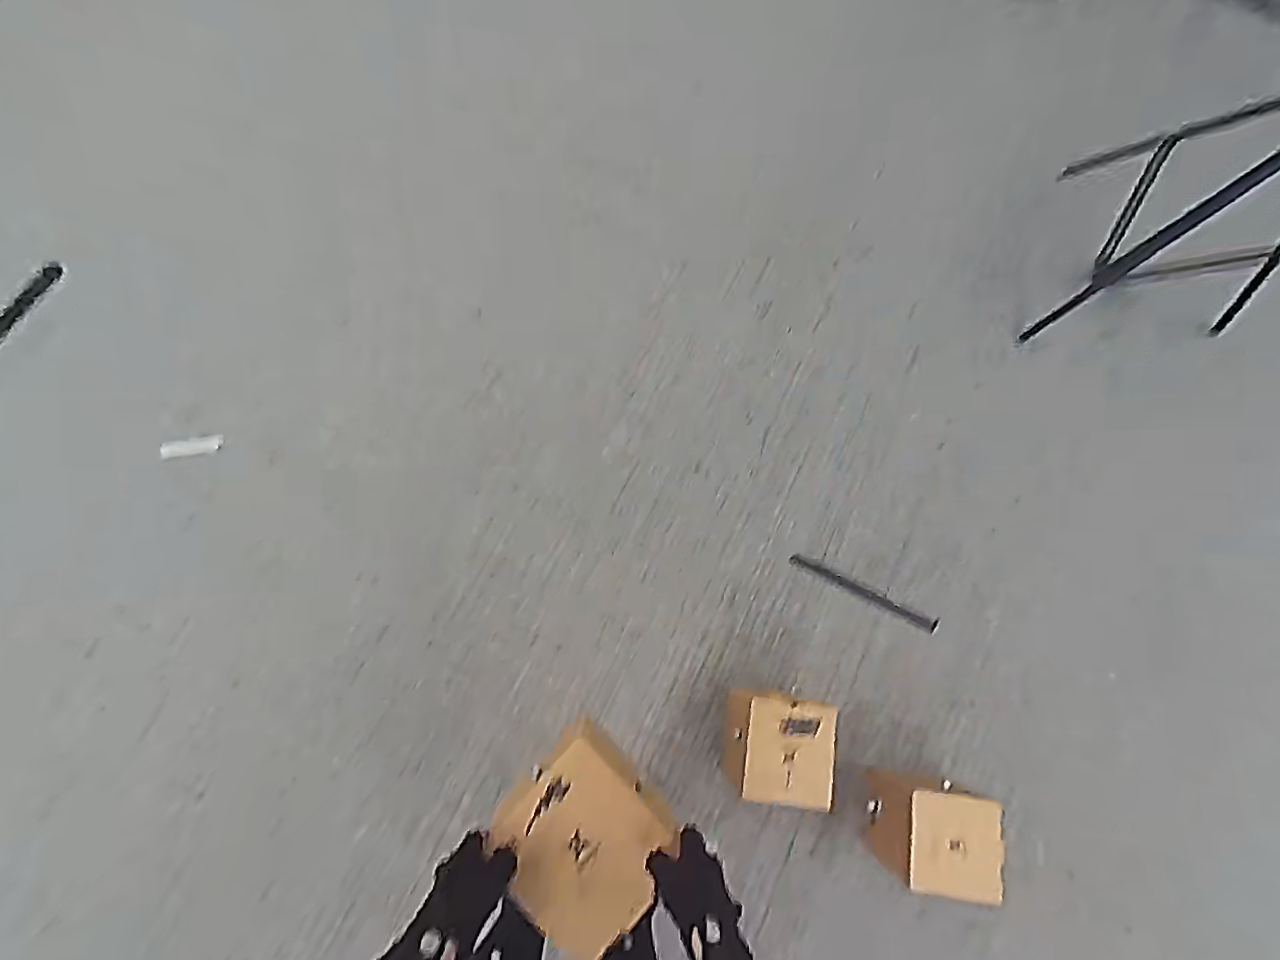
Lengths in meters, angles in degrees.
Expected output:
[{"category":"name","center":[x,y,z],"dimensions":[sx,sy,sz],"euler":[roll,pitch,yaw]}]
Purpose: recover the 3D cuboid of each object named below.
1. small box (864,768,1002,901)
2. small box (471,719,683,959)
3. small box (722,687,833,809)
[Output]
[{"category":"small box","center":[0.564,0.677,1.052],"dimensions":[0.179,0.176,0.168],"euler":[9,74,-2]},{"category":"small box","center":[-0.071,0.425,0.668],"dimensions":[0.179,0.176,0.168],"euler":[43,77,8]},{"category":"small box","center":[0.264,0.515,1.065],"dimensions":[0.168,0.176,0.179],"euler":[9,76,-3]}]
